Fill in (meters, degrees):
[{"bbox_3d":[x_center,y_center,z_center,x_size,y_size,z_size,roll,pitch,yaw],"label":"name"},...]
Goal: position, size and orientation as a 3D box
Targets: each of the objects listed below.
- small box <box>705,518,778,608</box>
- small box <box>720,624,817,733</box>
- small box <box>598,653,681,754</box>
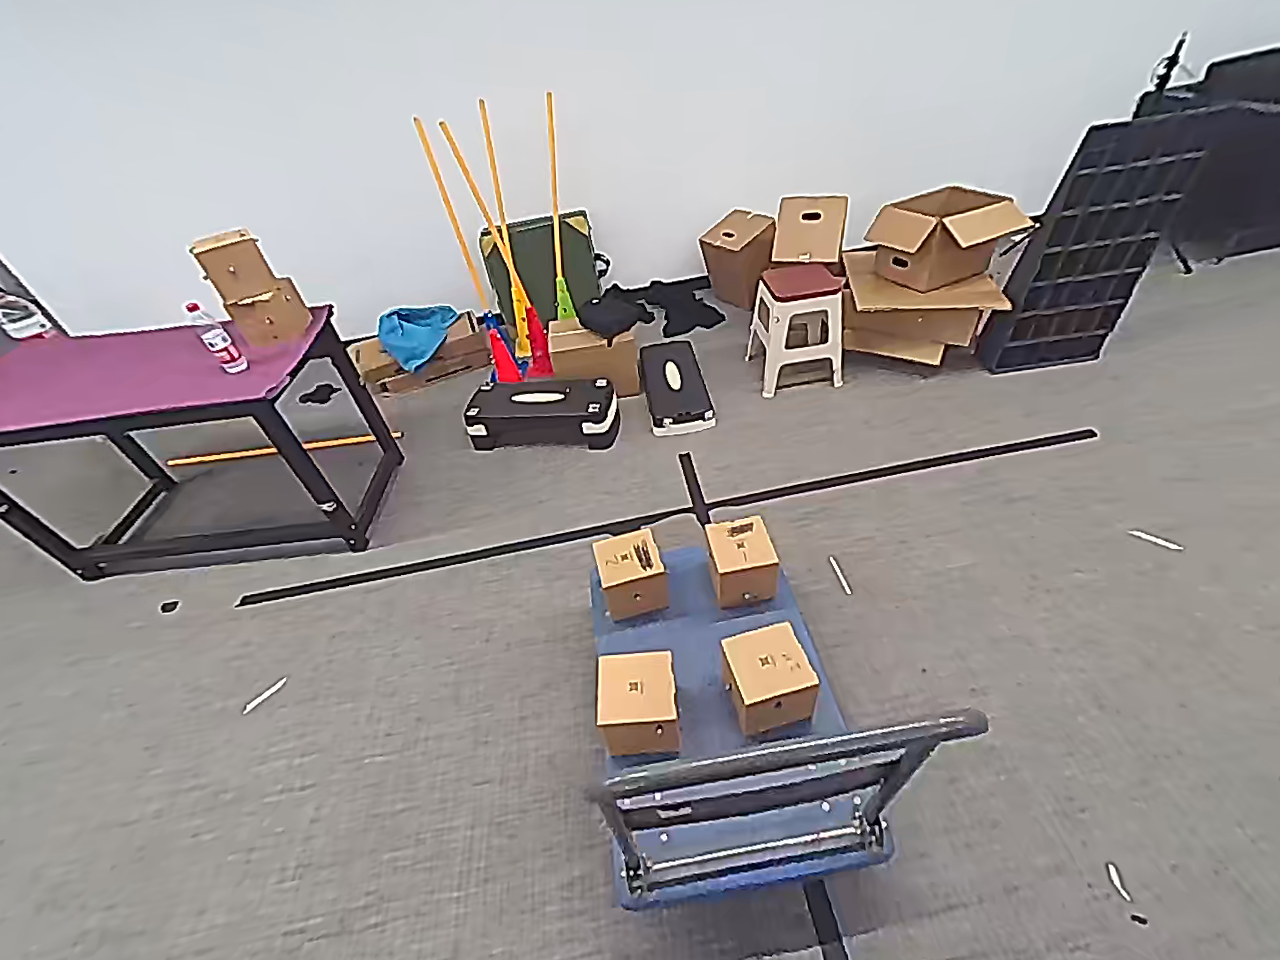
[{"bbox_3d":[0.285,0.238,1.550,0.168,0.176,0.179,-10,44,-1],"label":"small box"},{"bbox_3d":[0.302,0.477,1.291,0.179,0.176,0.168,-14,43,-5],"label":"small box"},{"bbox_3d":[0.000,0.533,1.283,0.179,0.176,0.168,-5,42,2],"label":"small box"}]
